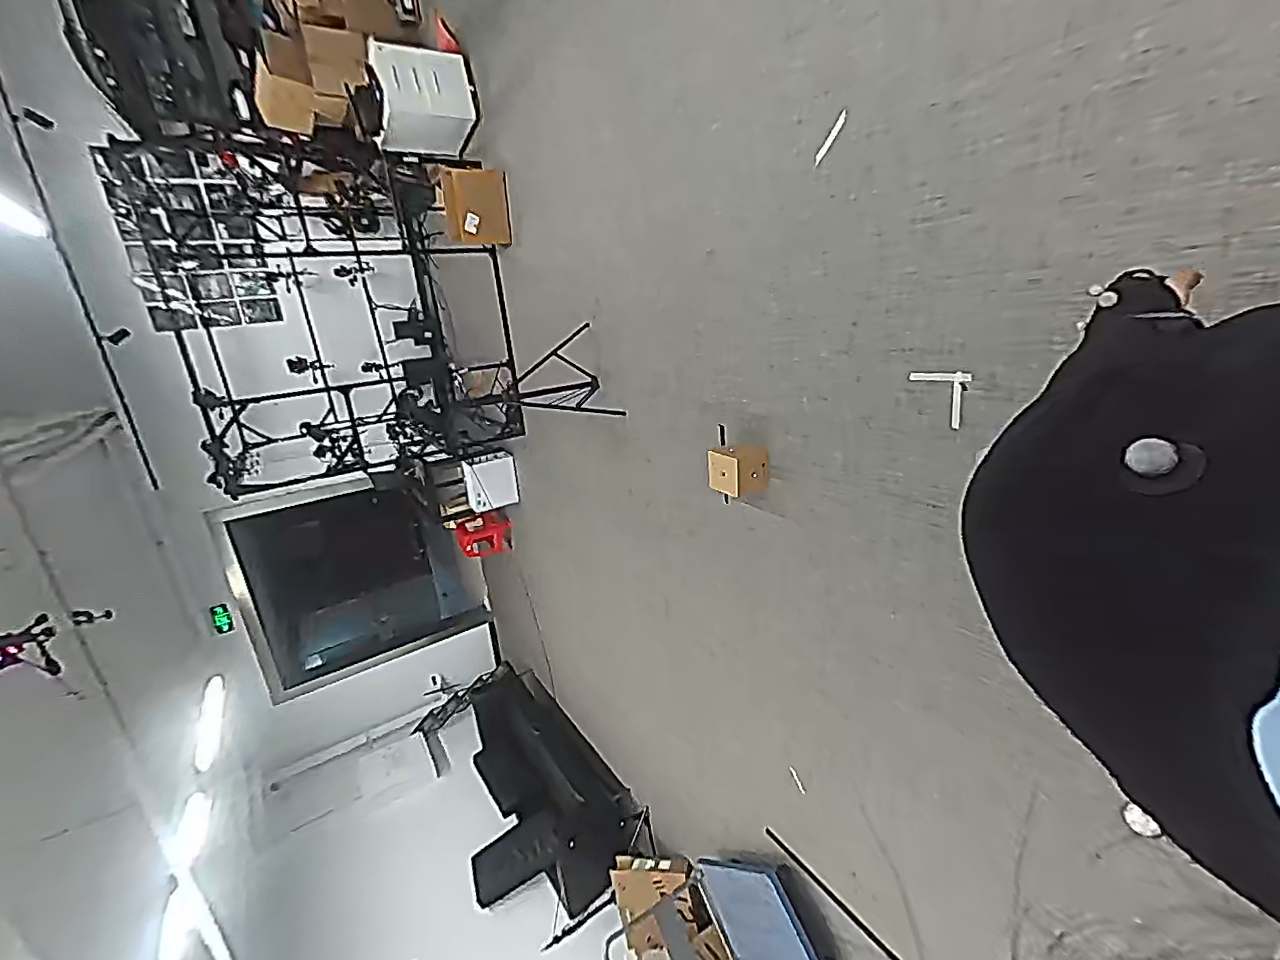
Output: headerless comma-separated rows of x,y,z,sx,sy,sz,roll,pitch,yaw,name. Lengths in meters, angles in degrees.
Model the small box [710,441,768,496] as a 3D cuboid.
0.408,-0.054,2.213,0.179,0.176,0.168,25,125,53,small box
